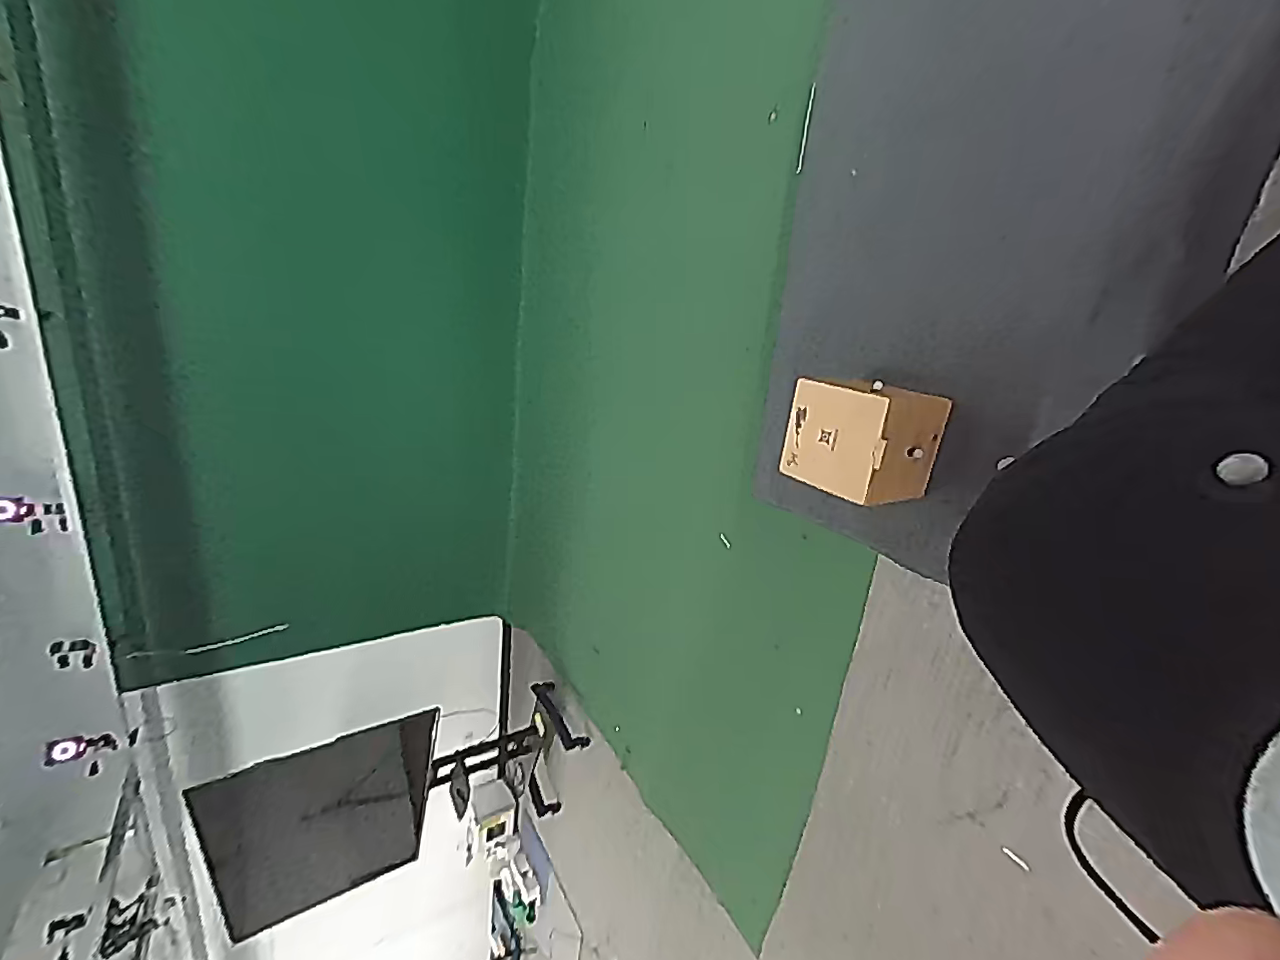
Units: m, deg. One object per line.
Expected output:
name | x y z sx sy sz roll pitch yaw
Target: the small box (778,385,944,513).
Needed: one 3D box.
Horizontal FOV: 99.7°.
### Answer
small box | 0.364 -0.059 0.894 0.179 0.176 0.168 30 117 50
